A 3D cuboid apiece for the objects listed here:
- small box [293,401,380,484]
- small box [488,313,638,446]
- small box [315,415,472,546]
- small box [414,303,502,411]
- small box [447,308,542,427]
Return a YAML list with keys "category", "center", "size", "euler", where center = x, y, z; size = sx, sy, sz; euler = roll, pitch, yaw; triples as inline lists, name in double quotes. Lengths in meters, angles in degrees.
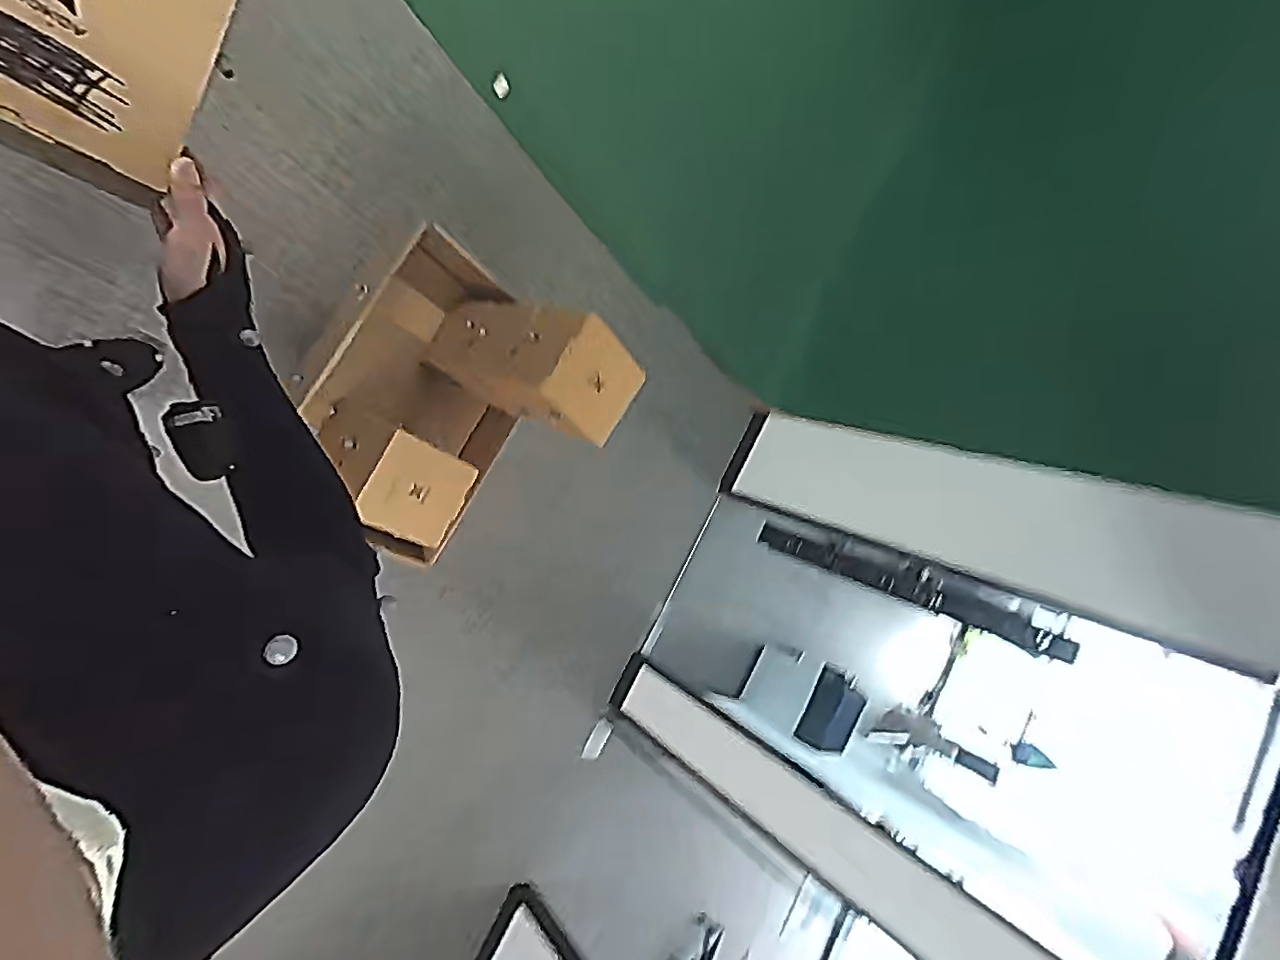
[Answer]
- category: "small box"
  center: [-0.565, -0.047, 1.104]
  size: [0.179, 0.176, 0.168]
  euler: [38, 78, -47]
- category: "small box"
  center: [-0.142, -0.192, 1.001]
  size: [0.168, 0.176, 0.179]
  euler: [-57, 136, -12]
- category: "small box"
  center: [-0.453, -0.004, 0.993]
  size: [0.179, 0.176, 0.168]
  euler: [37, 78, -47]
- category: "small box"
  center: [-0.367, -0.282, 1.220]
  size: [0.179, 0.176, 0.168]
  euler: [41, 76, -46]
- category: "small box"
  center: [-0.254, -0.237, 1.109]
  size: [0.179, 0.176, 0.168]
  euler: [43, 73, -45]
